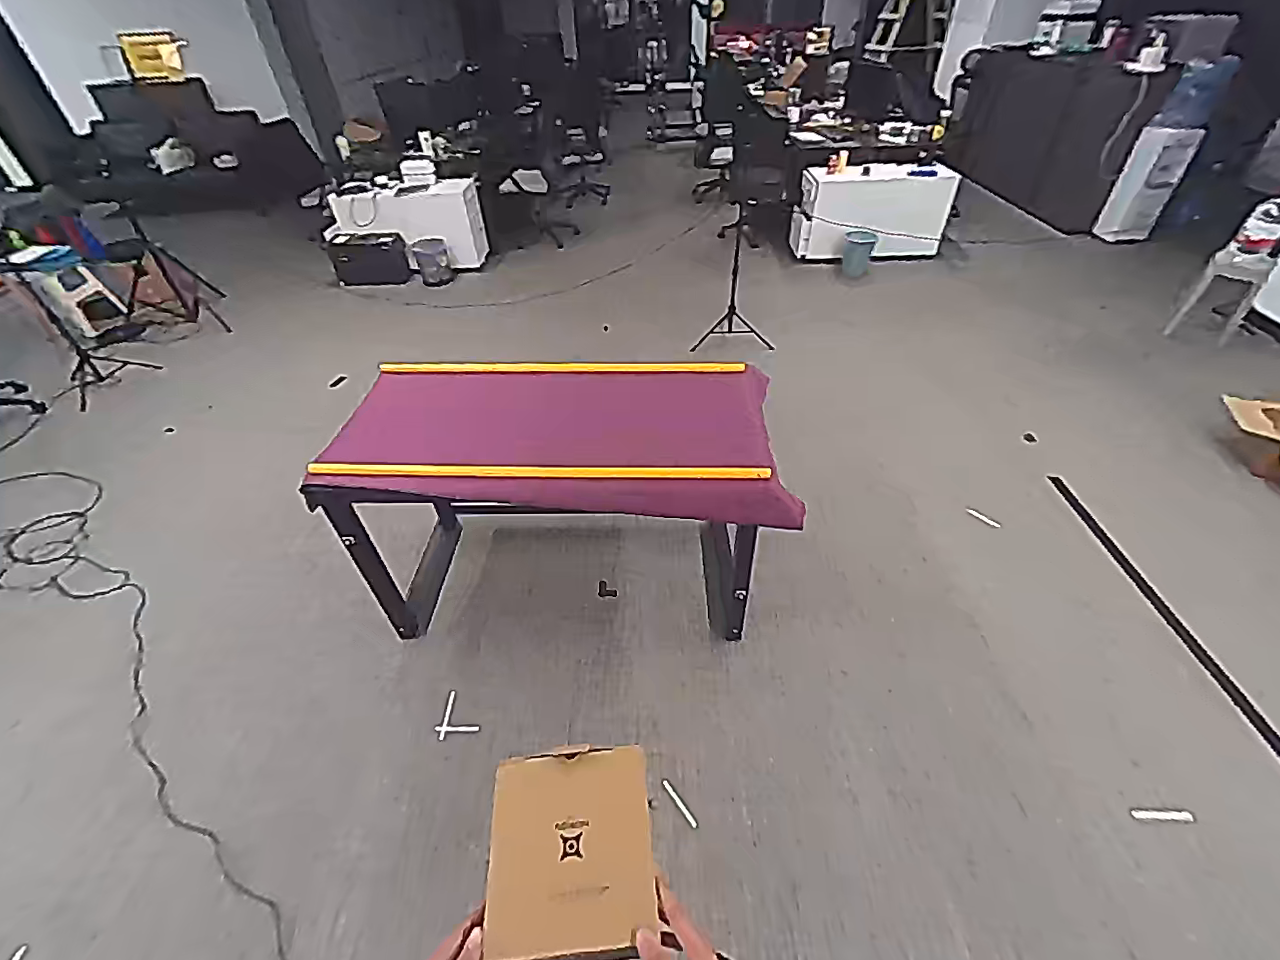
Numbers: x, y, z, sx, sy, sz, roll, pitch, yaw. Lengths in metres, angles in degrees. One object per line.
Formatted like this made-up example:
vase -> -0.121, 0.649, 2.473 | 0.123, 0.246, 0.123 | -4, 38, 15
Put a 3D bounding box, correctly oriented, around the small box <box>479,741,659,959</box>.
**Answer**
small box -> -0.072, 0.421, 0.605 | 0.168, 0.176, 0.179 | -5, 44, -4
